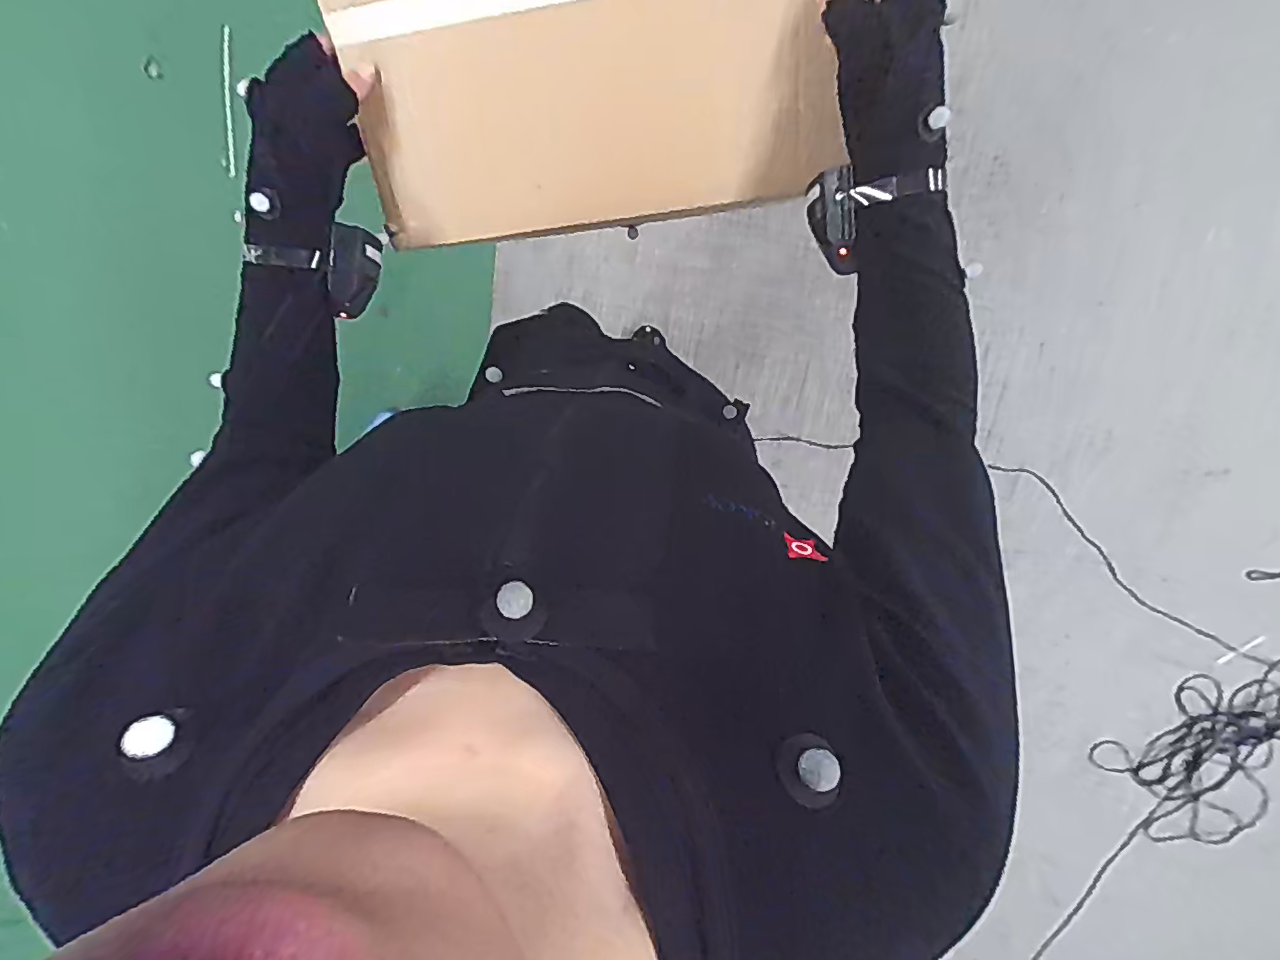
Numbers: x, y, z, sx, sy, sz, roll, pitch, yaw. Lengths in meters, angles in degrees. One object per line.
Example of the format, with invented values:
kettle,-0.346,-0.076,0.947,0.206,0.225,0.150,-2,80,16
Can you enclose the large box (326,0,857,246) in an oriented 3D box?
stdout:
large box,-0.031,-0.429,0.535,0.408,0.320,0.320,-4,114,6
